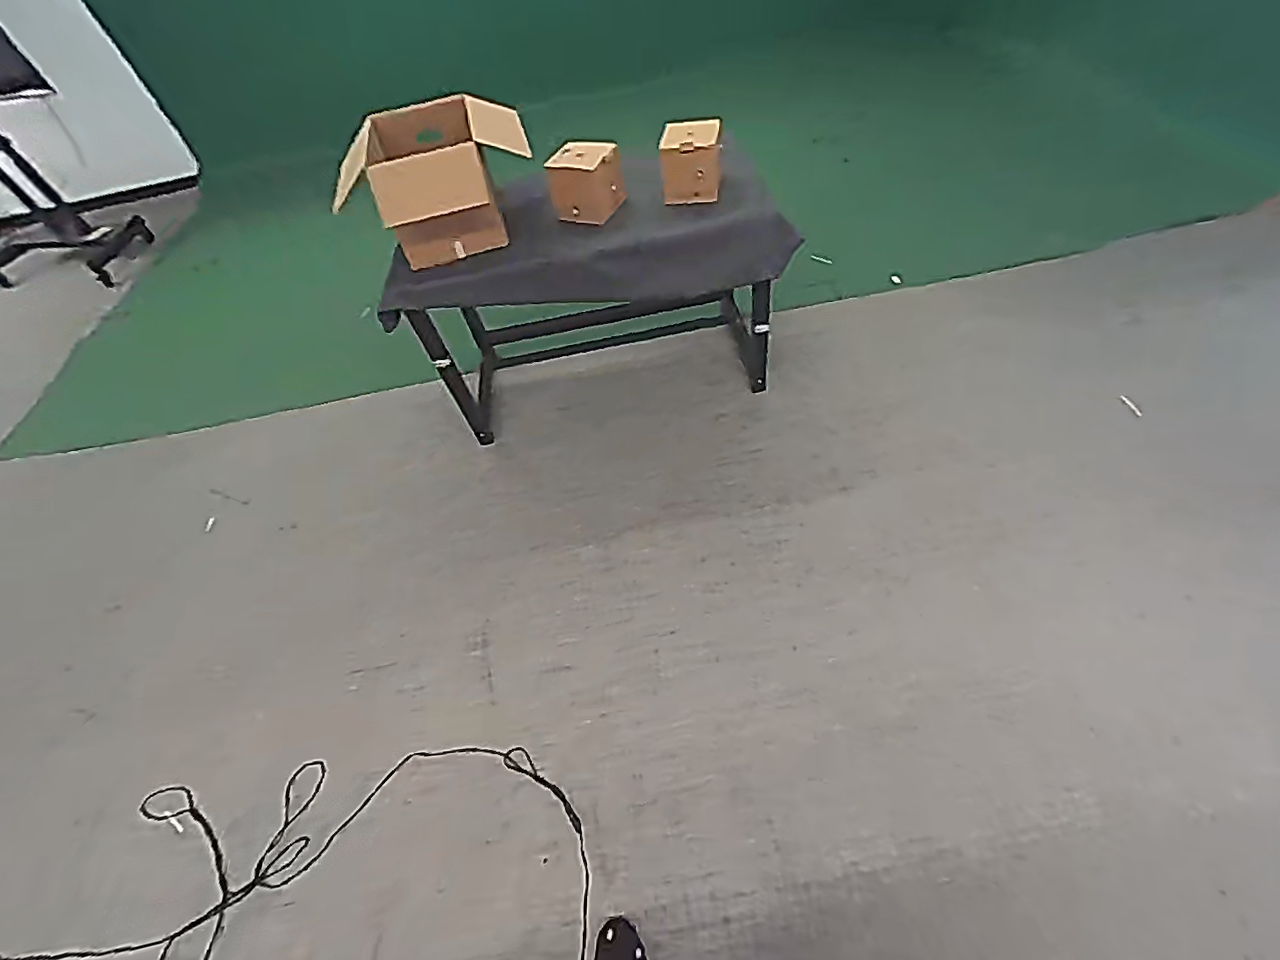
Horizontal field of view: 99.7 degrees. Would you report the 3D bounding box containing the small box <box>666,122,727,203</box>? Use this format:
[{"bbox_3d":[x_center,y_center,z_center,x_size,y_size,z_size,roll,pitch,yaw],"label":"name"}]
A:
[{"bbox_3d":[0.182,-0.983,1.688,0.168,0.176,0.179,3,53,12],"label":"small box"}]

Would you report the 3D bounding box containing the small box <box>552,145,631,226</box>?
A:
[{"bbox_3d":[-0.144,-0.928,1.710,0.179,0.176,0.168,18,59,22],"label":"small box"}]
